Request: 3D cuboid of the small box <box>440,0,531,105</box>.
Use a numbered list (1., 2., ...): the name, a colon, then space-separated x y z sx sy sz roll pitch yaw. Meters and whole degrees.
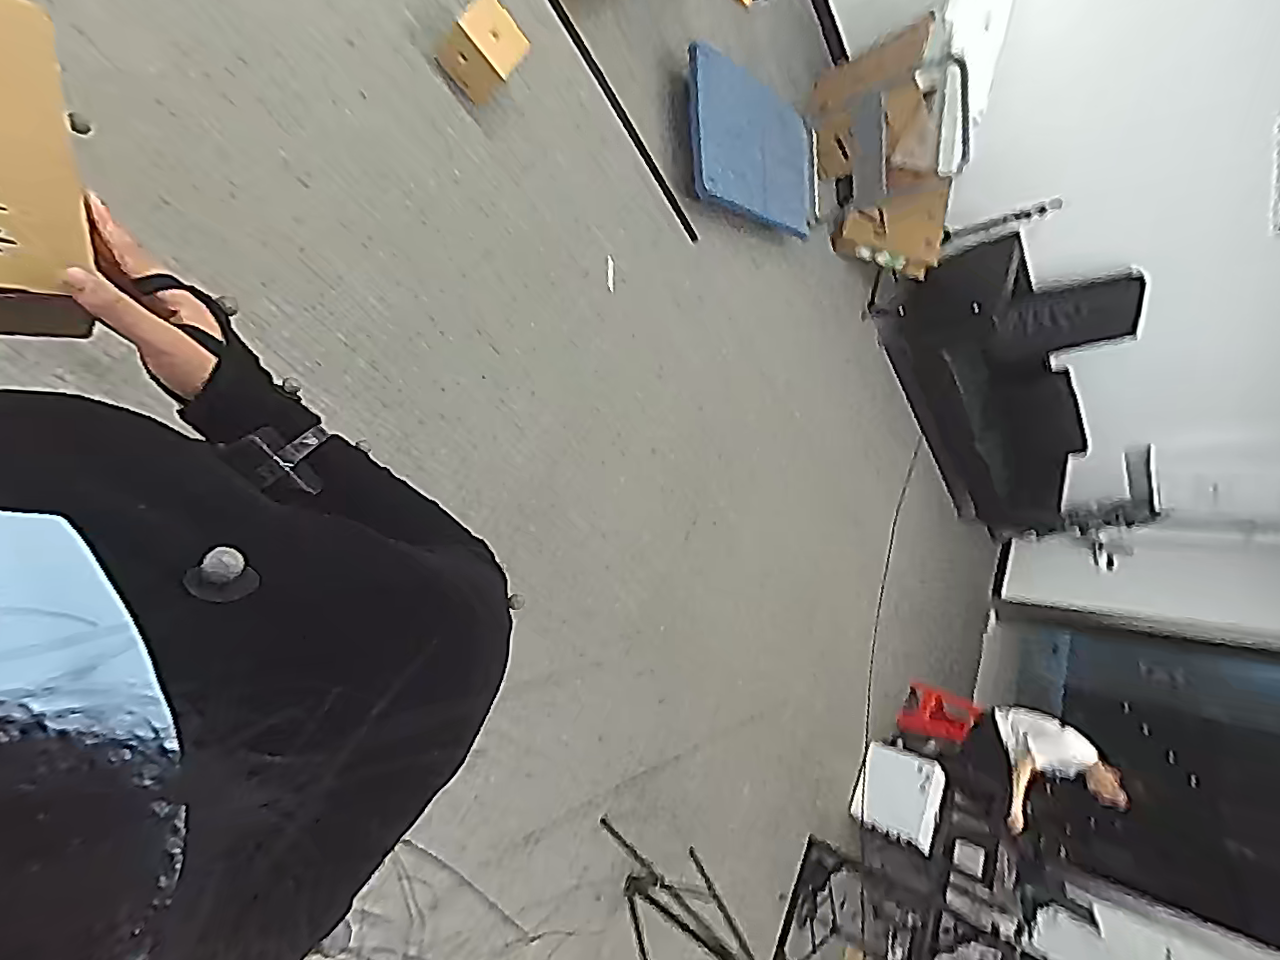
1. small box: -0.457 -1.251 1.579 0.168 0.176 0.179 41 63 -36
